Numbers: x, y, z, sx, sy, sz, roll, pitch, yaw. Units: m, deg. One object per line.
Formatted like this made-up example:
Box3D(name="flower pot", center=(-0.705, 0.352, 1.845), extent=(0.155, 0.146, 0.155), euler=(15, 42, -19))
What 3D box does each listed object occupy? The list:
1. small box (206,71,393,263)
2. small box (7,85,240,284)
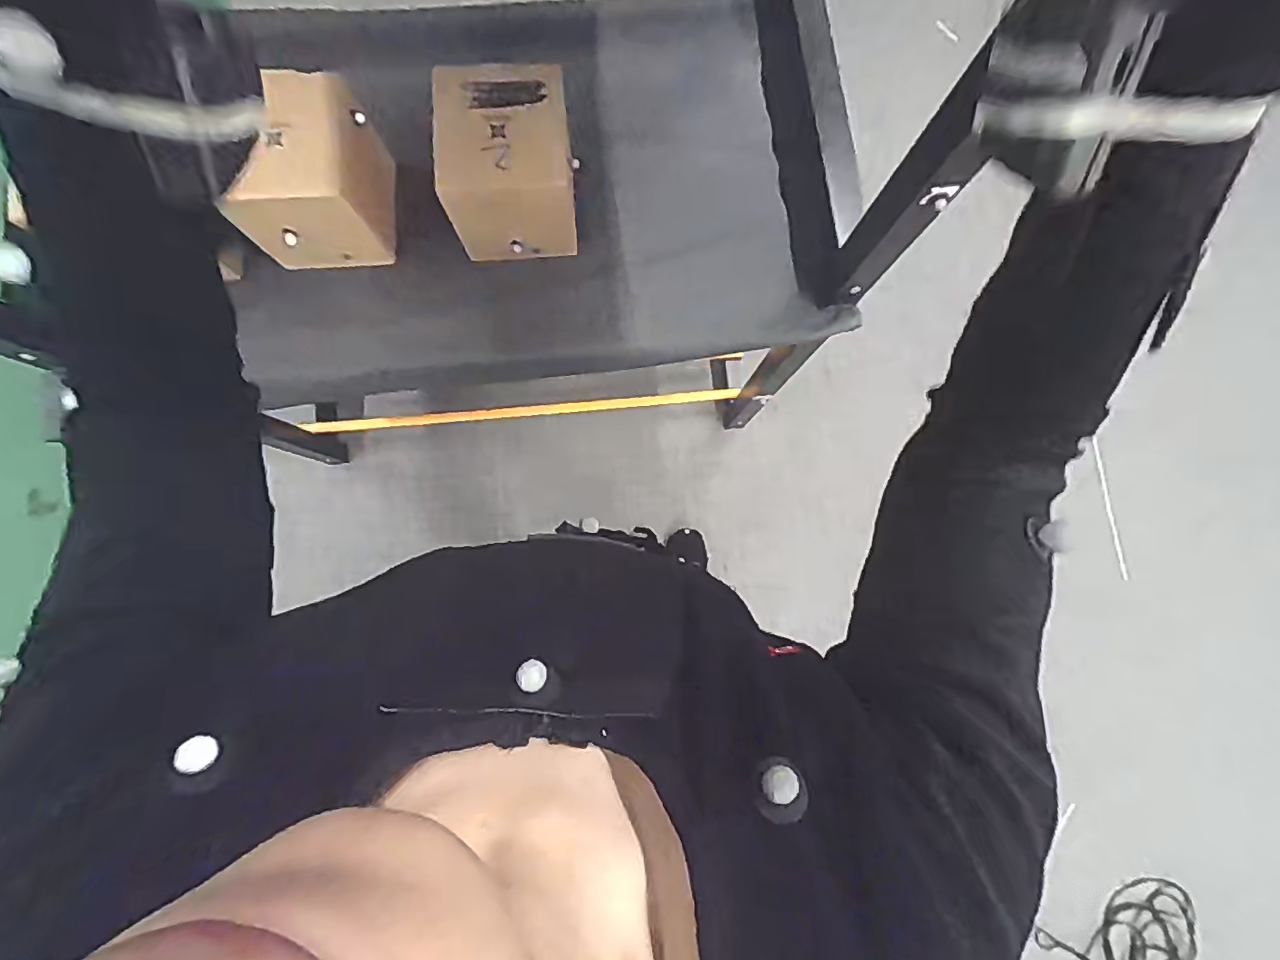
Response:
Box3D(name="small box", center=(-0.461, -0.423, 0.758), extent=(0.168, 0.176, 0.179), euler=(-4, 82, -3))
Box3D(name="small box", center=(-0.686, -0.395, 0.742), extent=(0.168, 0.176, 0.179), euler=(-5, 82, -3))
